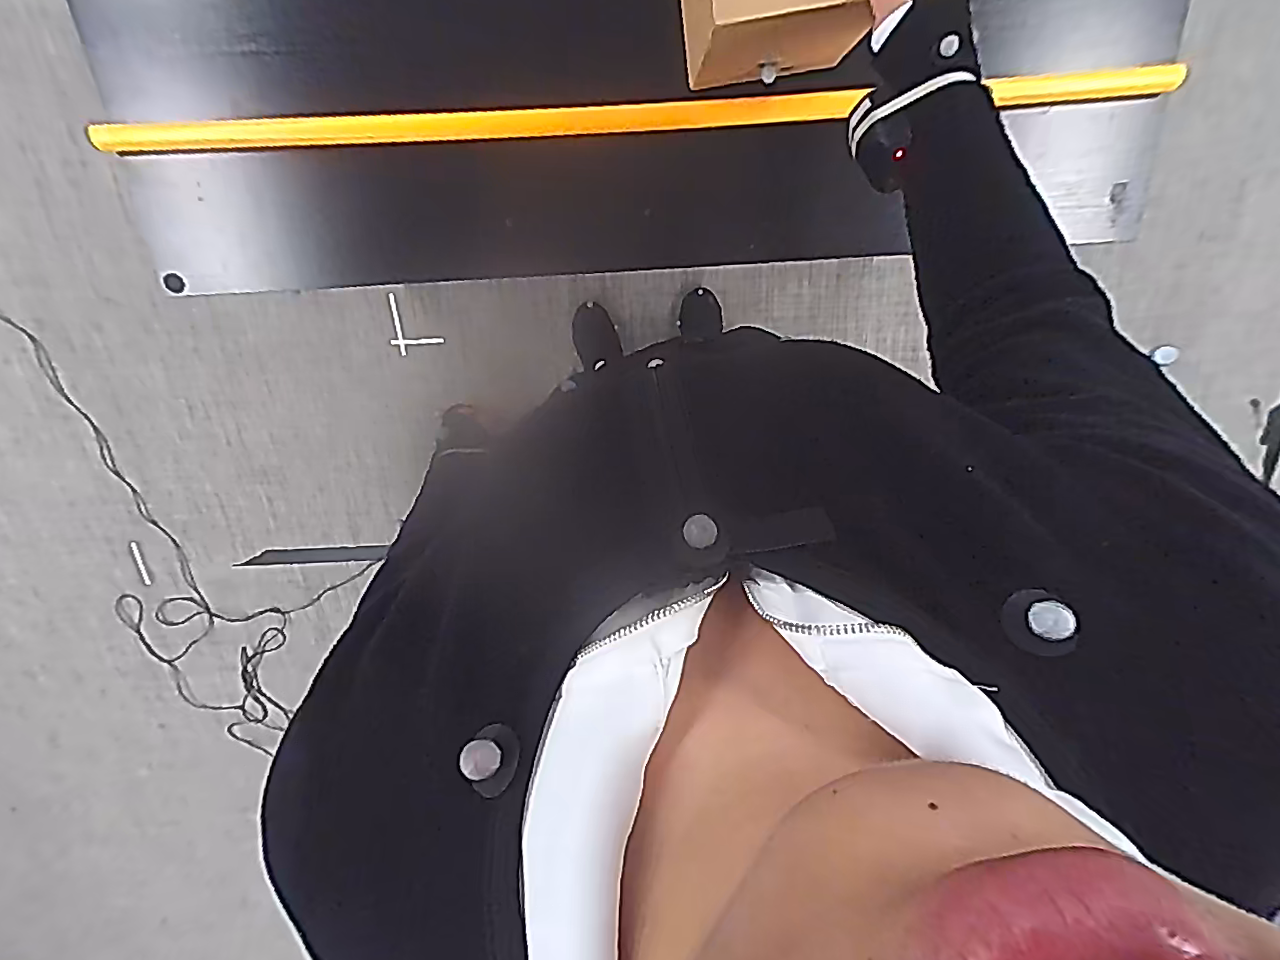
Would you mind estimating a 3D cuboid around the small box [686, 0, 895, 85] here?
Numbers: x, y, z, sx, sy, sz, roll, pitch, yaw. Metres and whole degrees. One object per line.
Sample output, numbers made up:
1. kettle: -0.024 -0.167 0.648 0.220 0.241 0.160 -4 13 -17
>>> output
1. small box: 0.130 -0.510 0.505 0.168 0.176 0.179 -8 110 2
